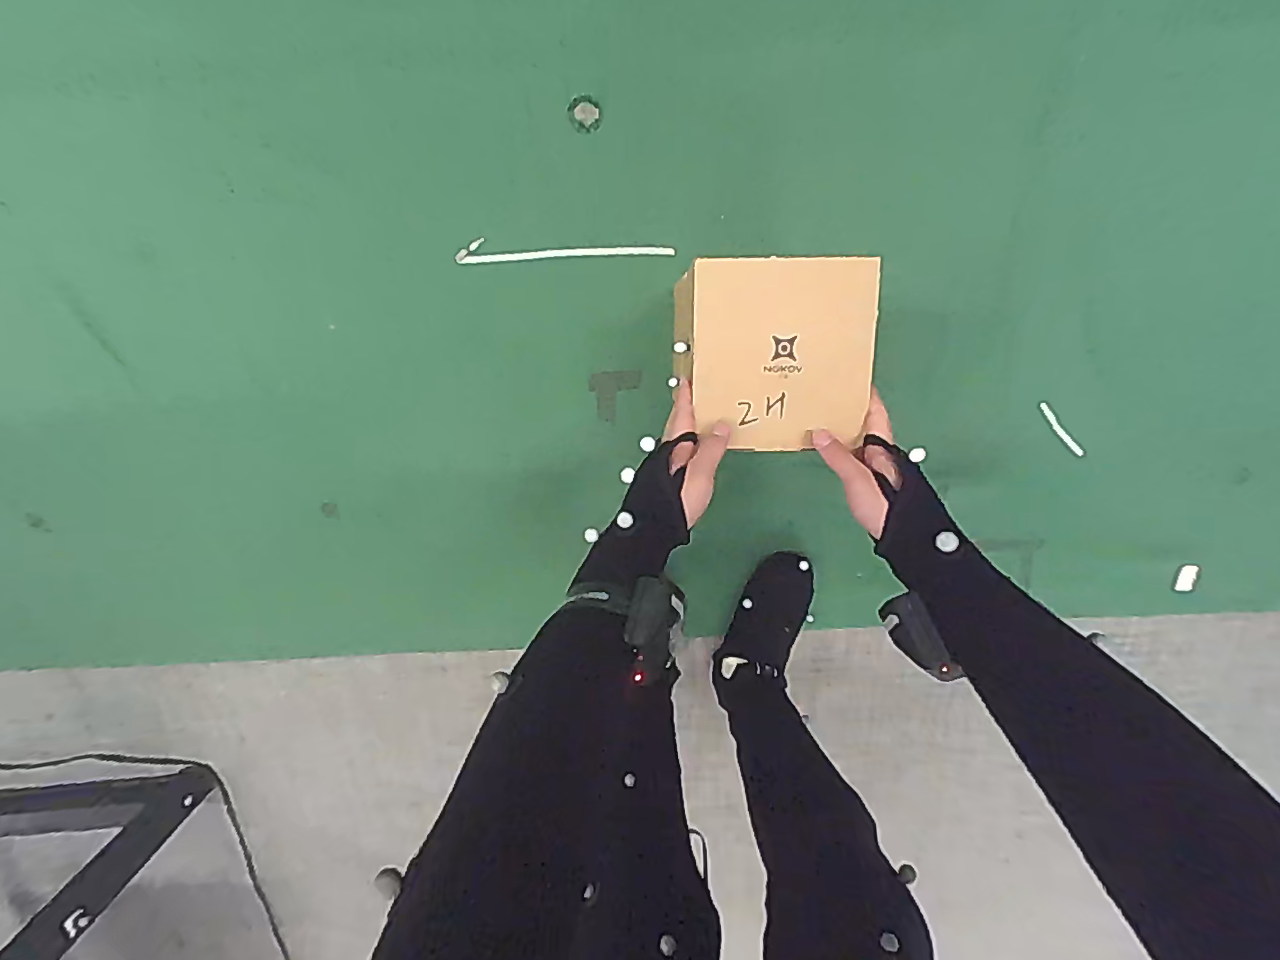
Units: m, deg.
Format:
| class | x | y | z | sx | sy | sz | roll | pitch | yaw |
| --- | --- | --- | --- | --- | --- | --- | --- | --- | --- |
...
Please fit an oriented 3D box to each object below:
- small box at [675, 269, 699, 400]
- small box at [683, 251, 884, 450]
| class | x | y | z | sx | sy | sz | roll | pitch | yaw |
| --- | --- | --- | --- | --- | --- | --- | --- | --- | --- |
| small box | 0.136 | -0.189 | 0.741 | 0.168 | 0.176 | 0.179 | 0 | 107 | 0 |
| small box | 0.132 | -0.131 | 0.565 | 0.168 | 0.176 | 0.179 | 0 | 103 | 1 |
